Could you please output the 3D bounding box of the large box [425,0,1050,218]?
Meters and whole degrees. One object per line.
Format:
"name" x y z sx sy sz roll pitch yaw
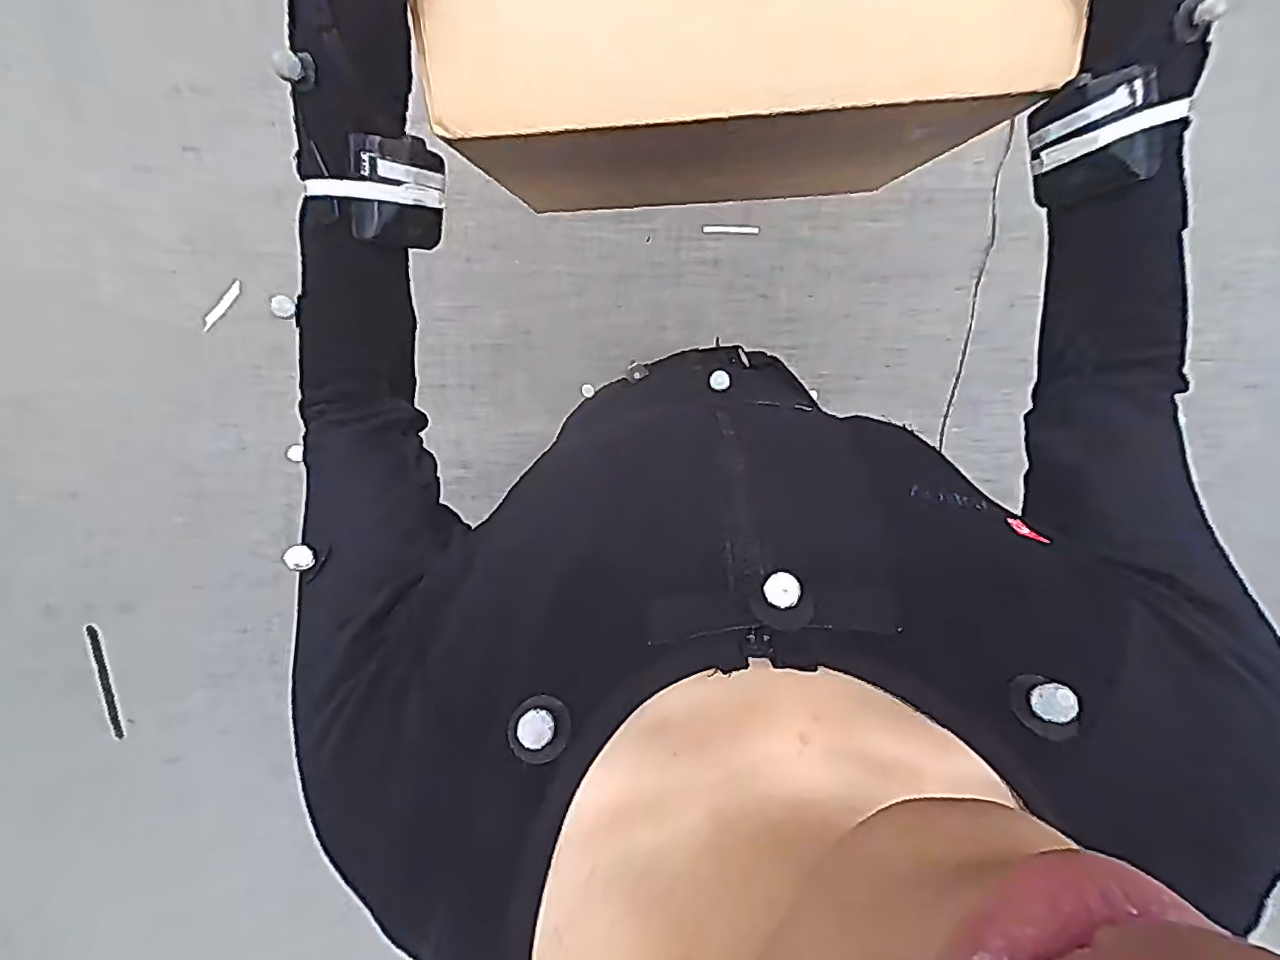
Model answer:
"large box" 0.053 -0.433 0.459 0.408 0.320 0.320 -4 108 2
